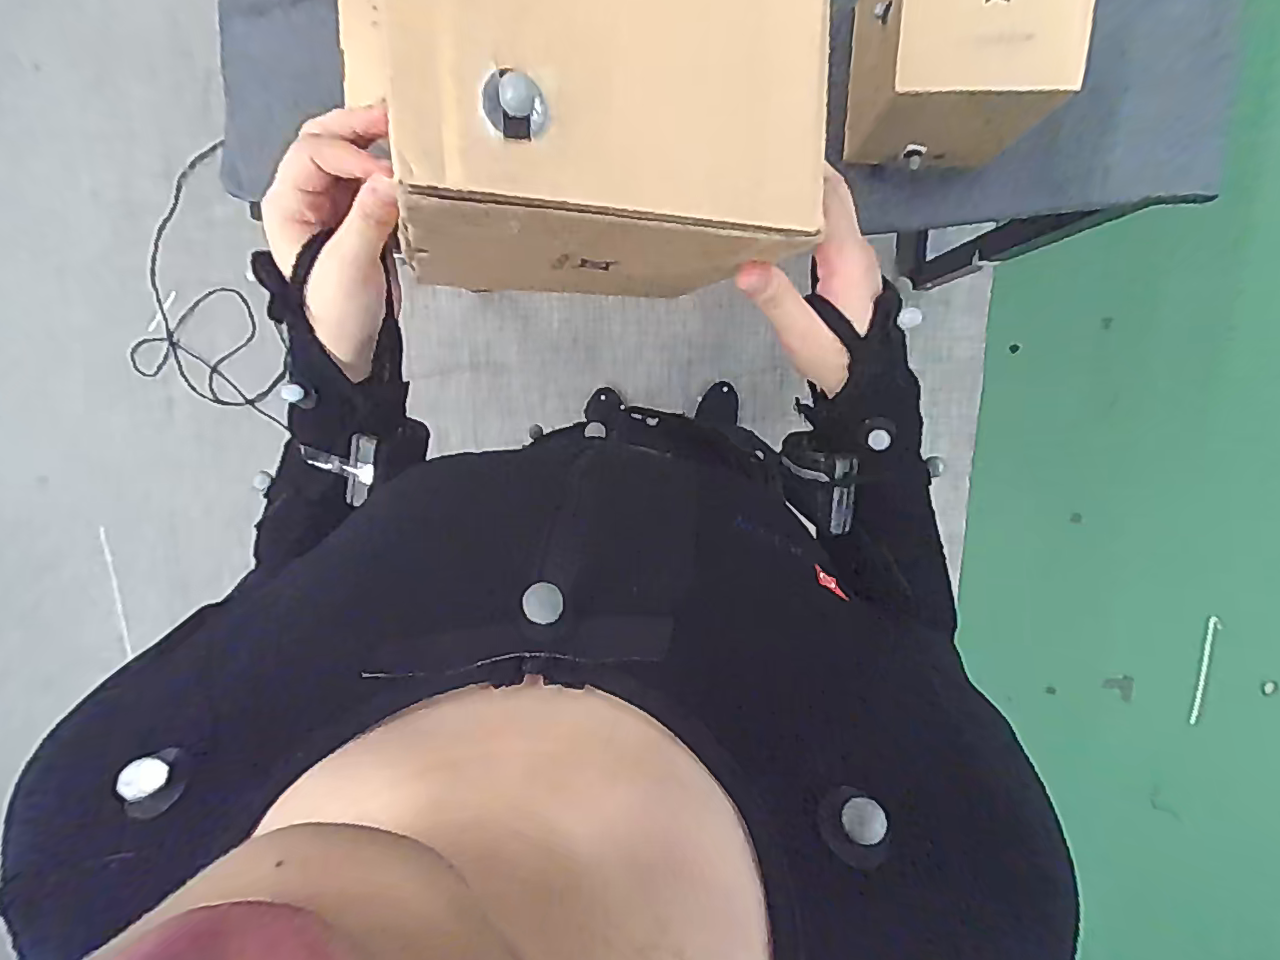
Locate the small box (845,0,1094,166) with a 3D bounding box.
[{"bbox_3d":[0.322,-0.451,0.555,0.168,0.176,0.179,2,100,5],"label":"small box"}]

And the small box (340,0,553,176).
[{"bbox_3d":[-0.197,-0.453,0.595,0.179,0.176,0.168,4,101,4],"label":"small box"}]
